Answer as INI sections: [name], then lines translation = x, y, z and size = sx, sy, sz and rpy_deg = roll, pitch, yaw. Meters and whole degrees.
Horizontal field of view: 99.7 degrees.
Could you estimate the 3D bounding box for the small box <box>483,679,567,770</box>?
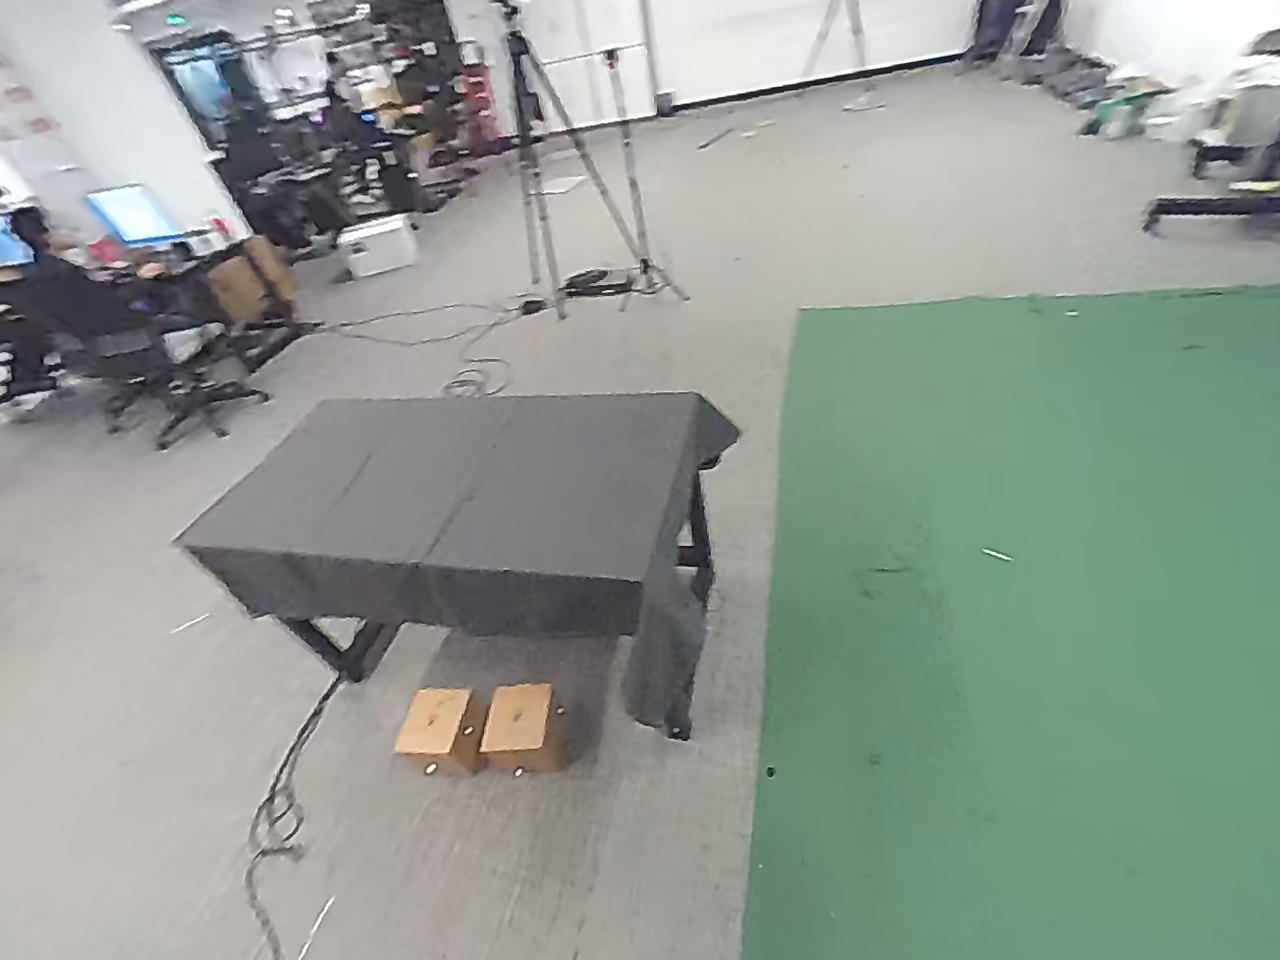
[small box]
translation = -0.306, 0.673, 1.487
size = 0.168, 0.176, 0.179
rpy_deg = -6, 41, 9
